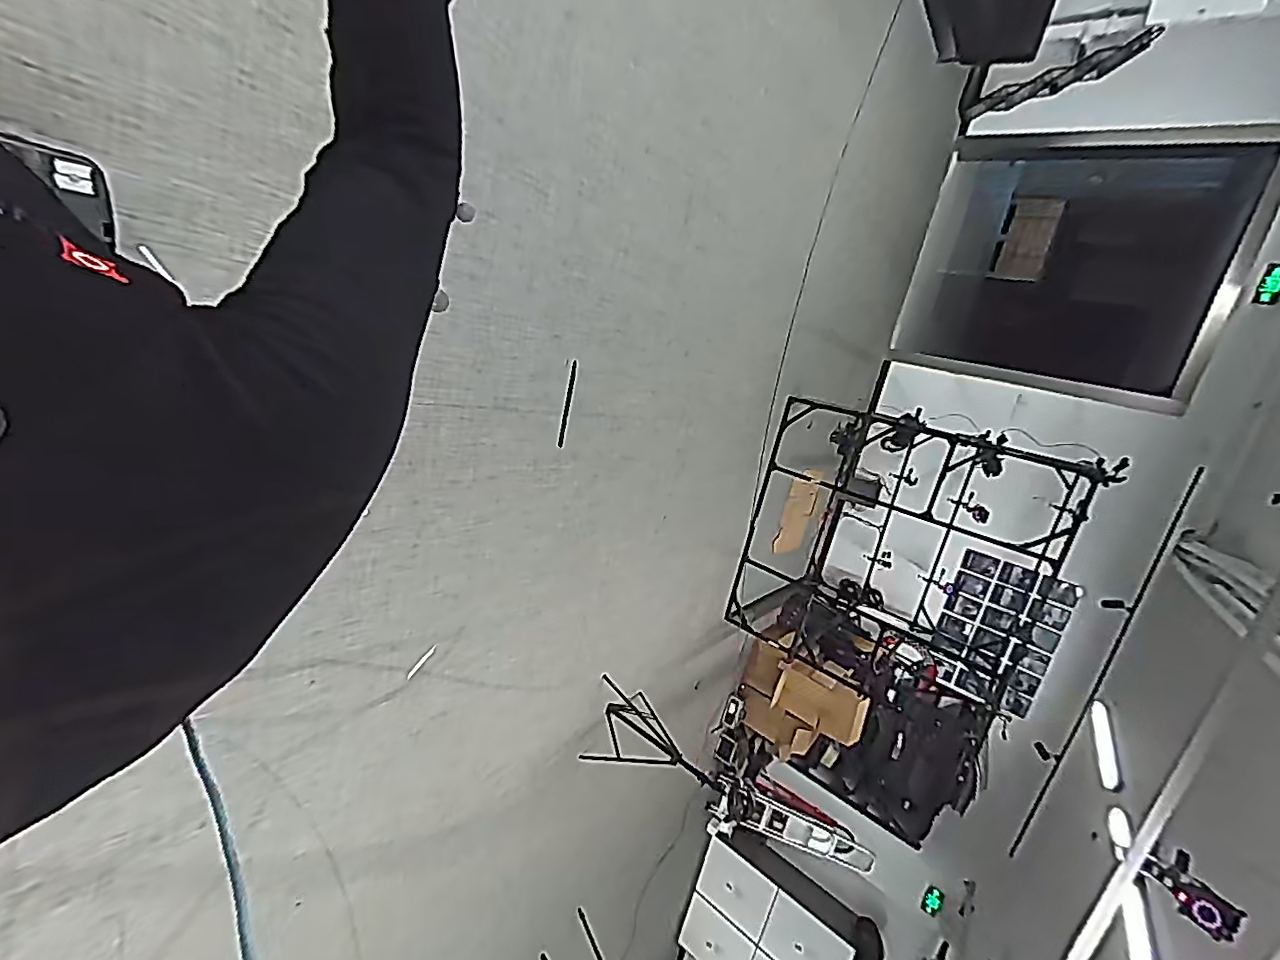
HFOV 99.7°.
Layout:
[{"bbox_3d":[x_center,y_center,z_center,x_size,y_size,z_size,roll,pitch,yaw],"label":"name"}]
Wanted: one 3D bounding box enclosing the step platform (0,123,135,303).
[{"bbox_3d":[-1.264,-0.481,0.854,0.684,0.204,0.286,-9,116,-53],"label":"step platform"}]
